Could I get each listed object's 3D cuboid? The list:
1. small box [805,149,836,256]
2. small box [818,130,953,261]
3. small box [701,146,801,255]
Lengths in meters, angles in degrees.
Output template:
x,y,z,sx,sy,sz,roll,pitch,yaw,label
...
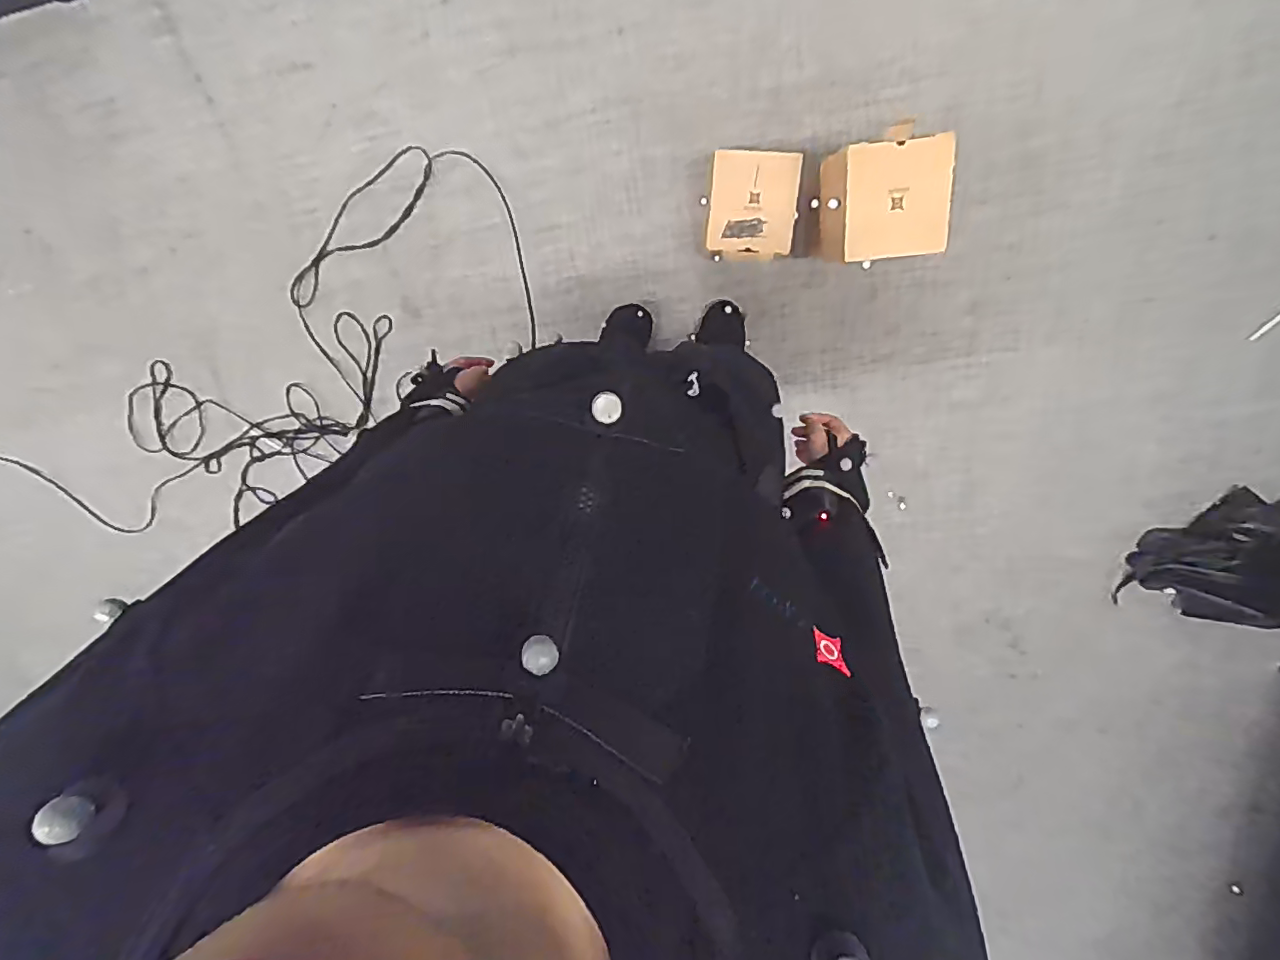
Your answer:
x,y,z,sx,sy,sz,roll,pitch,yaw,label
0.435,-0.557,1.090,0.168,0.176,0.179,-5,110,5,small box
0.416,-0.484,0.944,0.168,0.176,0.179,-4,110,5,small box
0.217,-0.560,1.101,0.168,0.176,0.179,4,110,1,small box
